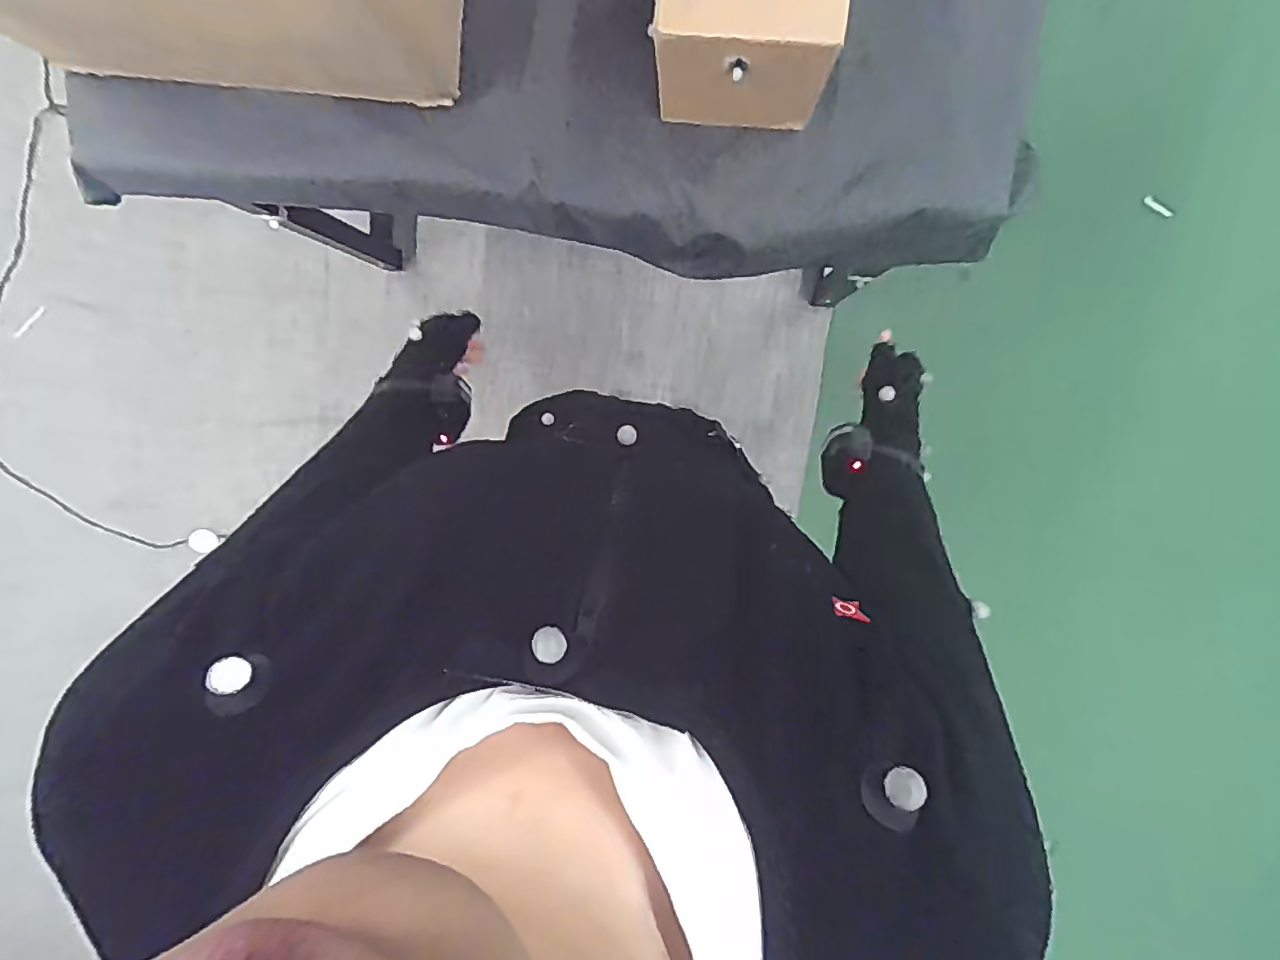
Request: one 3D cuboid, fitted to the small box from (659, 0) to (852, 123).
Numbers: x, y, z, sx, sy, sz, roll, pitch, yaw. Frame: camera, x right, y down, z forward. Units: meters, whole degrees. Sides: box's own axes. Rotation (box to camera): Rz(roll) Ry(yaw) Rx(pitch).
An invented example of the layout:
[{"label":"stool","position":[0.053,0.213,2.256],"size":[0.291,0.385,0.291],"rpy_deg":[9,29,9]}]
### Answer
[{"label":"small box","position":[0.118,-0.504,0.566],"size":[0.179,0.176,0.168],"rpy_deg":[6,100,3]}]
